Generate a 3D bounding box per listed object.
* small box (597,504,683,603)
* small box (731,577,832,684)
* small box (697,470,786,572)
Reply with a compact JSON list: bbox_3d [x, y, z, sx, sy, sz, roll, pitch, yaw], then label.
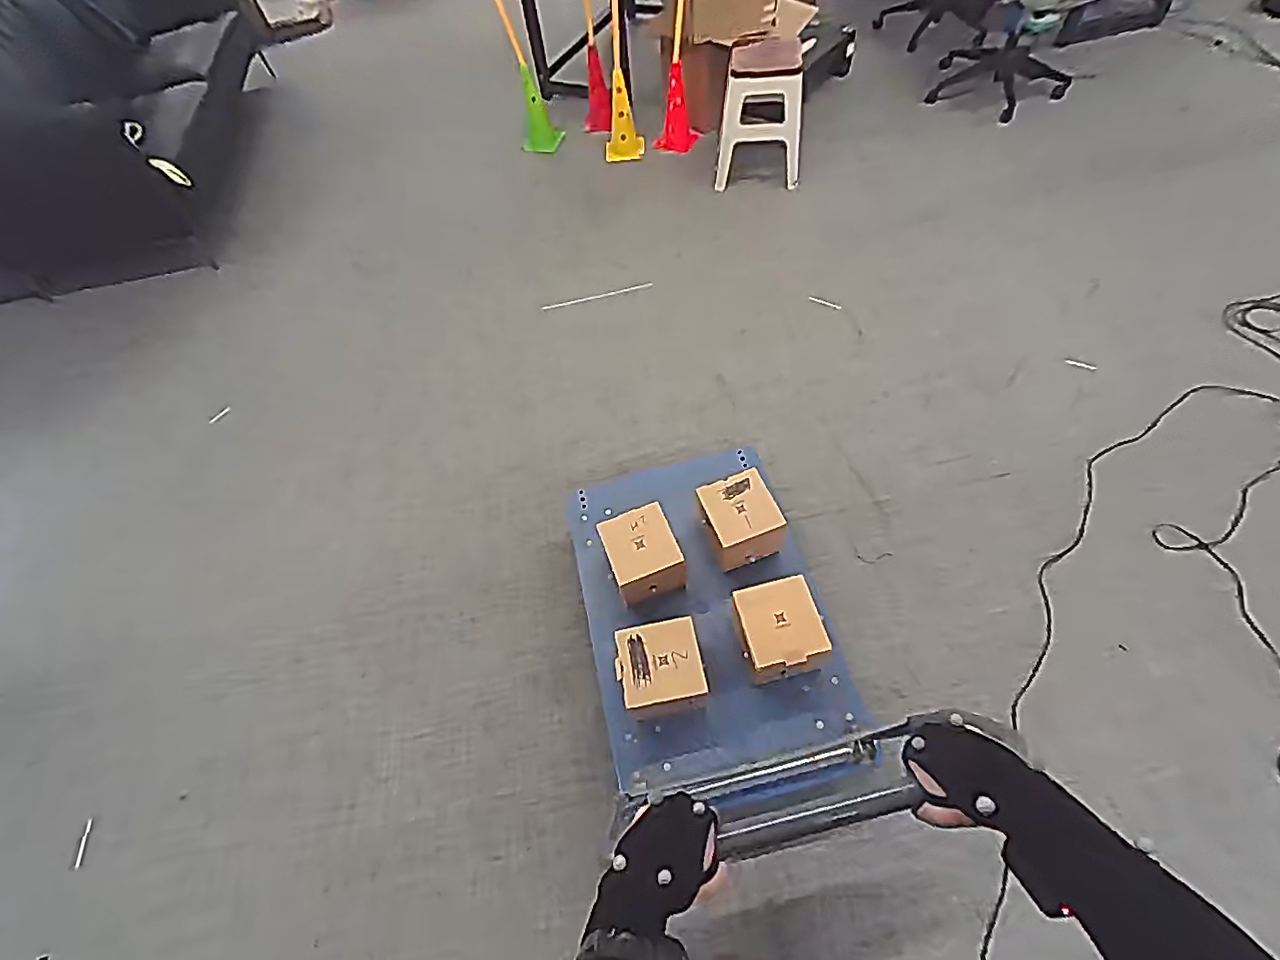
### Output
[{"bbox_3d":[0.005,0.193,1.362,0.168,0.176,0.179,-20,59,-7],"label":"small box"},{"bbox_3d":[0.311,0.346,1.236,0.168,0.176,0.179,-14,59,-2],"label":"small box"},{"bbox_3d":[0.251,0.110,1.385,0.168,0.176,0.179,-20,60,-5],"label":"small box"}]
